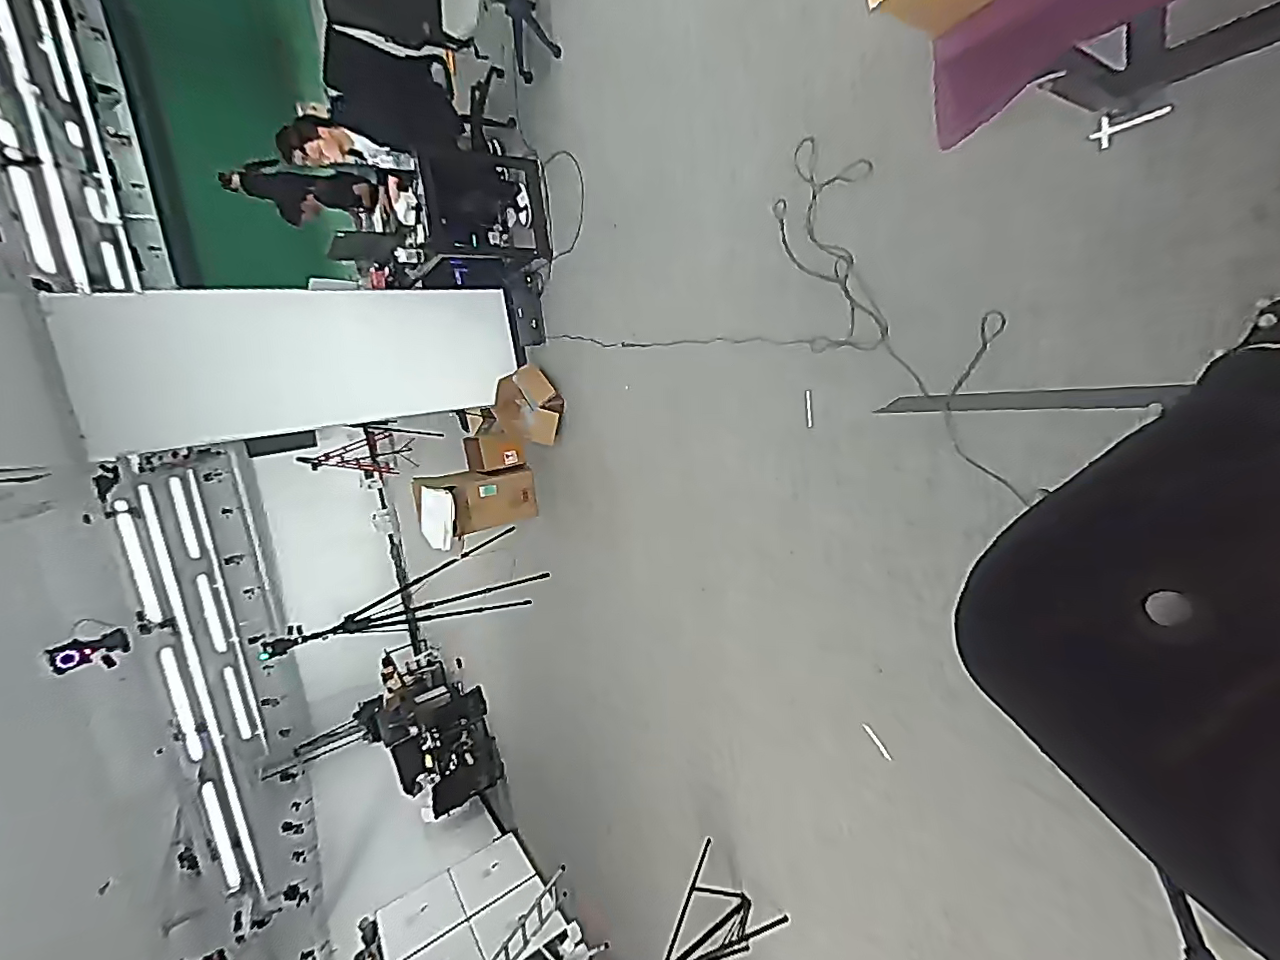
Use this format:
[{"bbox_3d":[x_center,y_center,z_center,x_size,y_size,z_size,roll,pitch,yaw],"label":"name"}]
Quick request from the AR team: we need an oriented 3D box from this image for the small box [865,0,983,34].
[{"bbox_3d":[0.410,-0.733,0.700,0.179,0.176,0.168,-1,101,56],"label":"small box"}]
